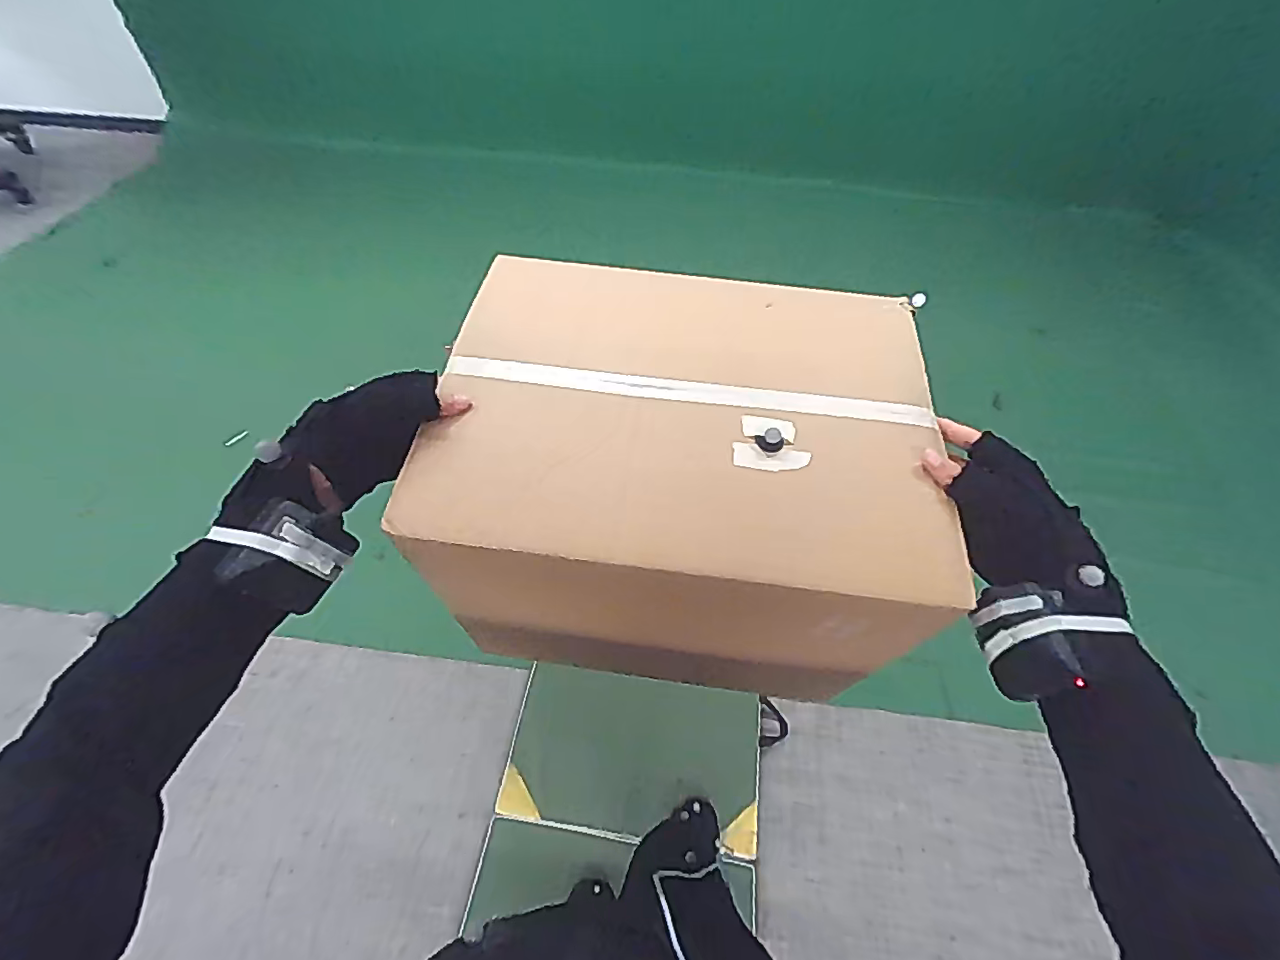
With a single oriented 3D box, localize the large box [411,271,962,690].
[{"bbox_3d":[0.038,0.015,0.586,0.408,0.320,0.320,7,57,2],"label":"large box"}]
